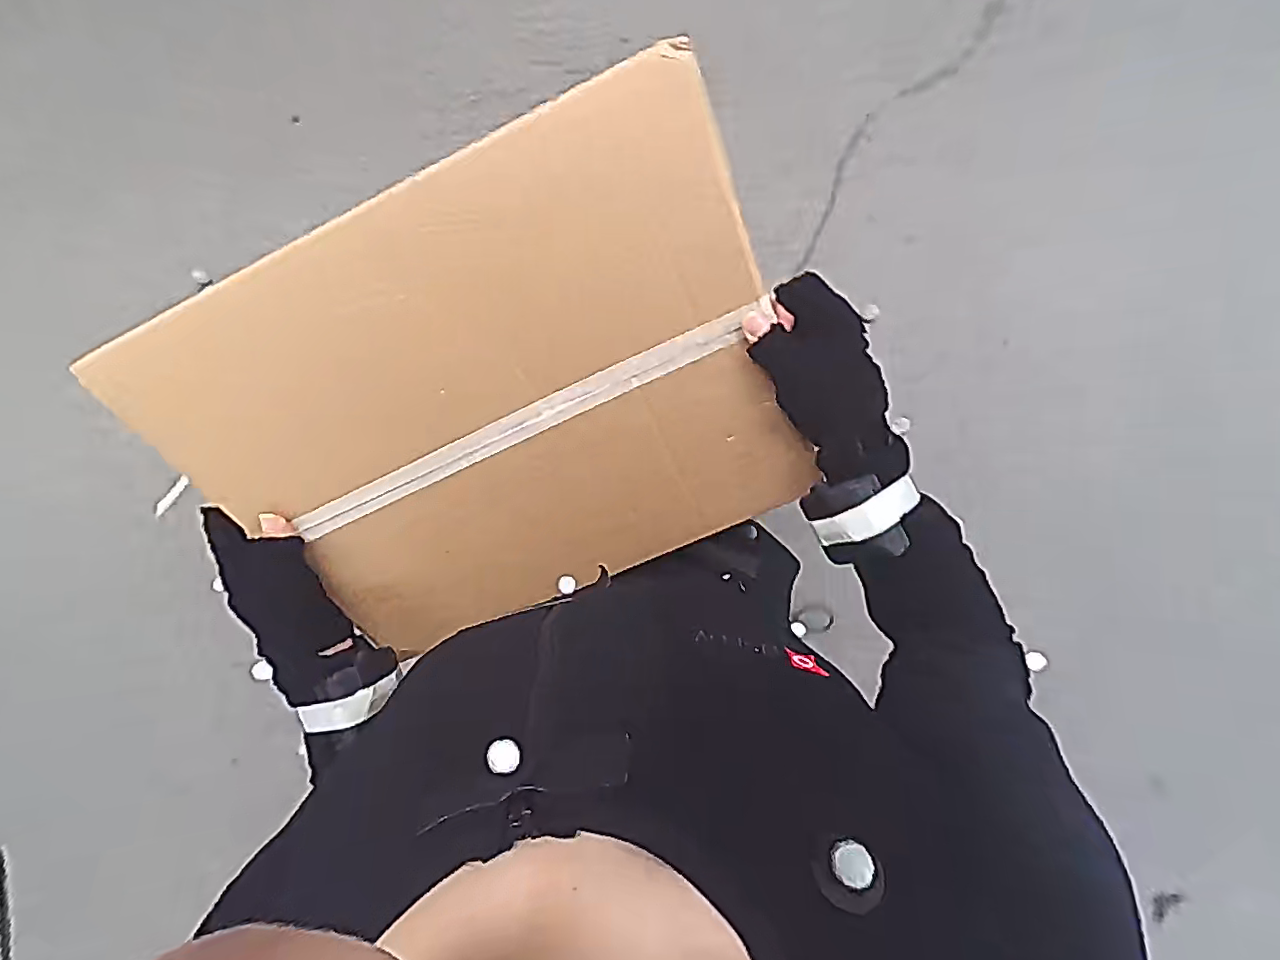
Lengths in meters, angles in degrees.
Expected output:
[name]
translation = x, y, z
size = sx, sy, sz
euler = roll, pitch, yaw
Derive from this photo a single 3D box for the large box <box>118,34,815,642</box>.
[large box]
translation = -0.113, -0.121, 0.518
size = 0.408, 0.320, 0.320
euler = -24, 123, 8
